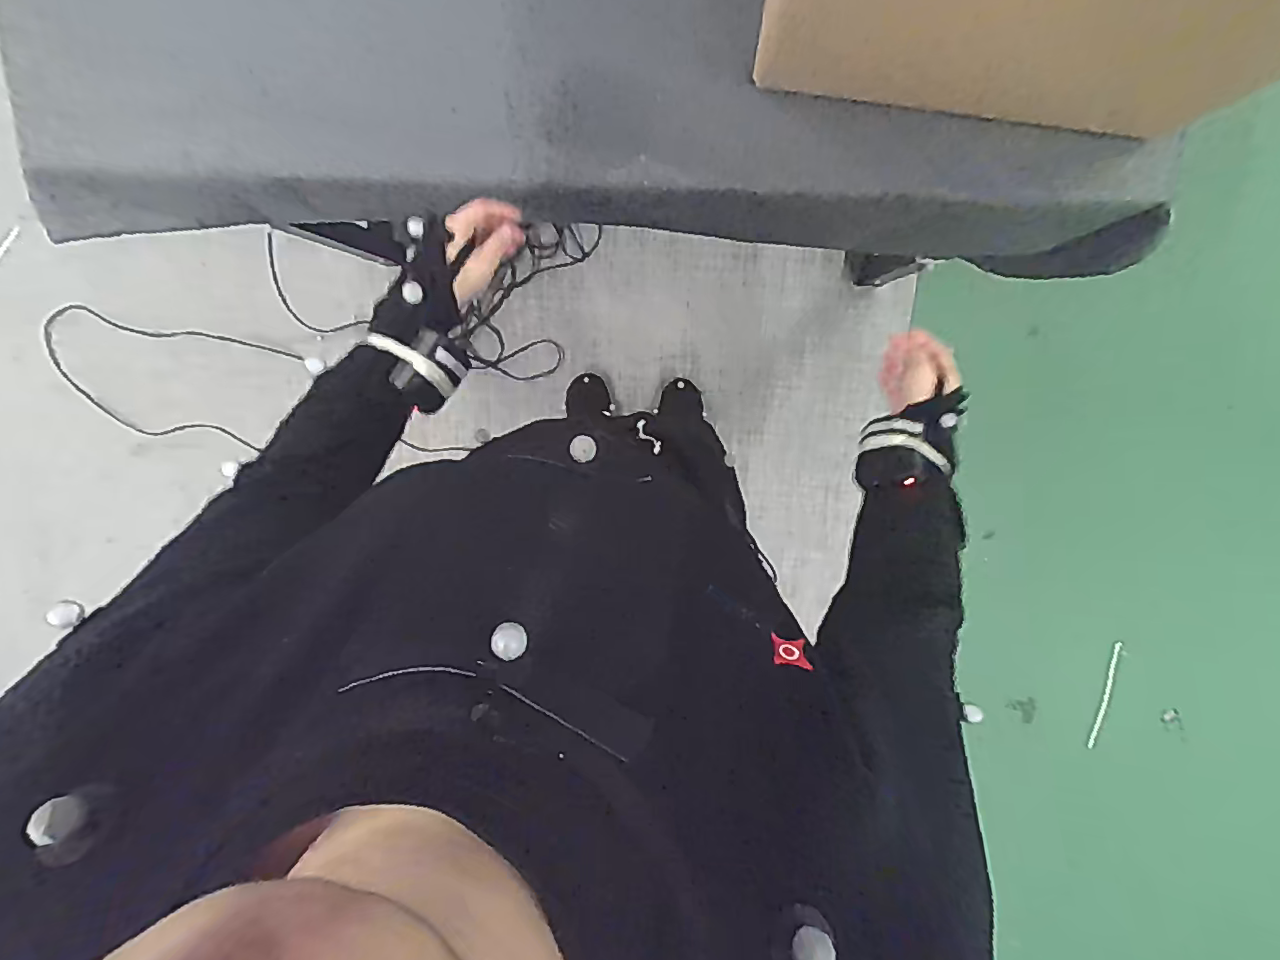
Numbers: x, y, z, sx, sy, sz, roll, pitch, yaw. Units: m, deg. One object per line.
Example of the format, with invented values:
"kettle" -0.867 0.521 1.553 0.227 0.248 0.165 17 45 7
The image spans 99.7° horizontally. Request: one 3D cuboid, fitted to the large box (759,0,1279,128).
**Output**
"large box" 0.323 -0.485 0.360 0.408 0.320 0.320 8 103 0
